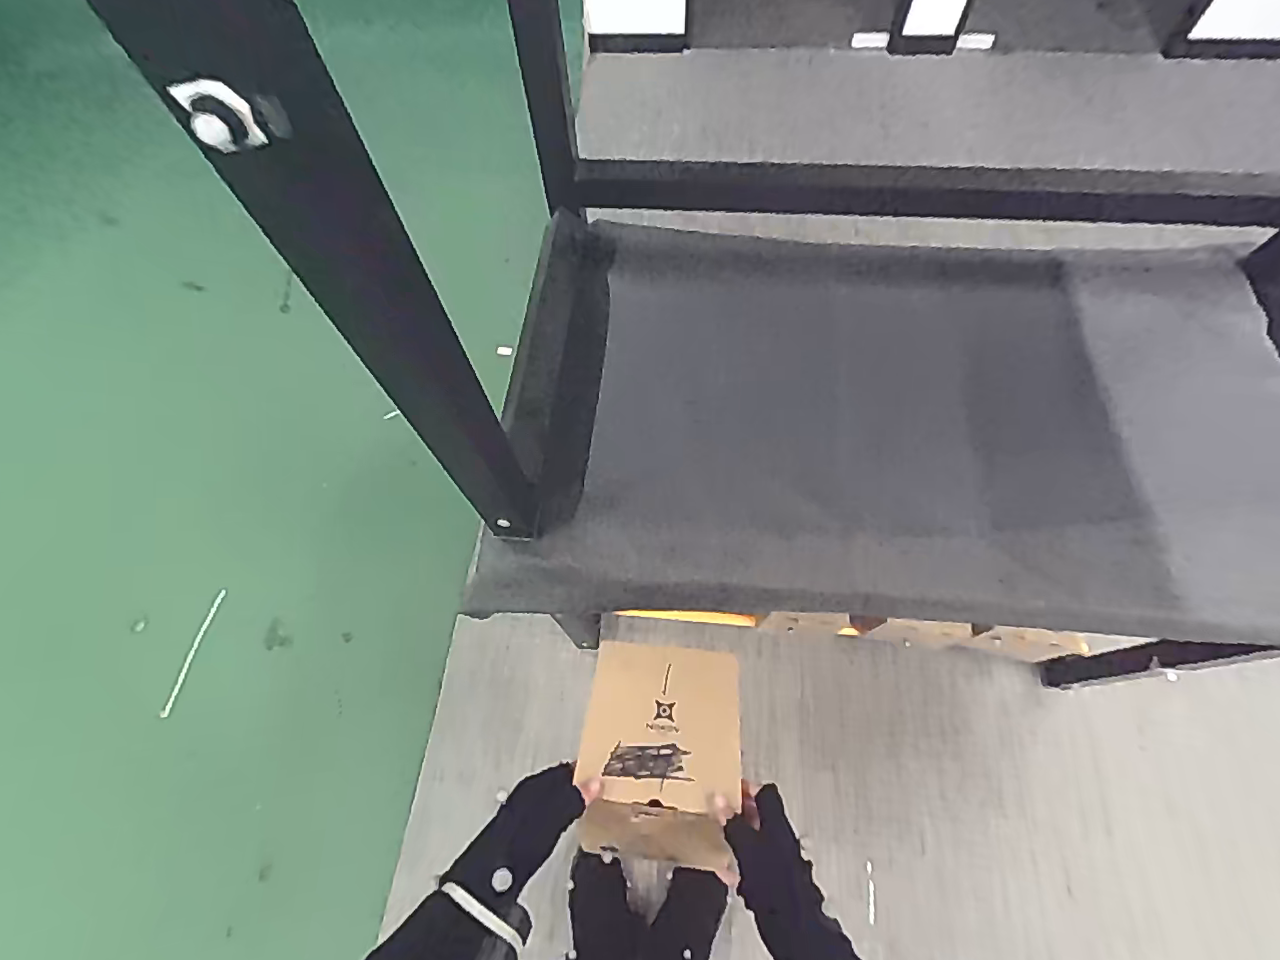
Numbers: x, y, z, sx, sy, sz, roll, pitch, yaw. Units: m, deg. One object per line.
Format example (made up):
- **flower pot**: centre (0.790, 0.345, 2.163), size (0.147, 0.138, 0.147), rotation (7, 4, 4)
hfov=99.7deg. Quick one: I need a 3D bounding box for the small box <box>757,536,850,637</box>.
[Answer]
- **small box**: centre (0.357, 0.241, 1.207), size (0.168, 0.176, 0.179), rotation (6, 66, 5)
